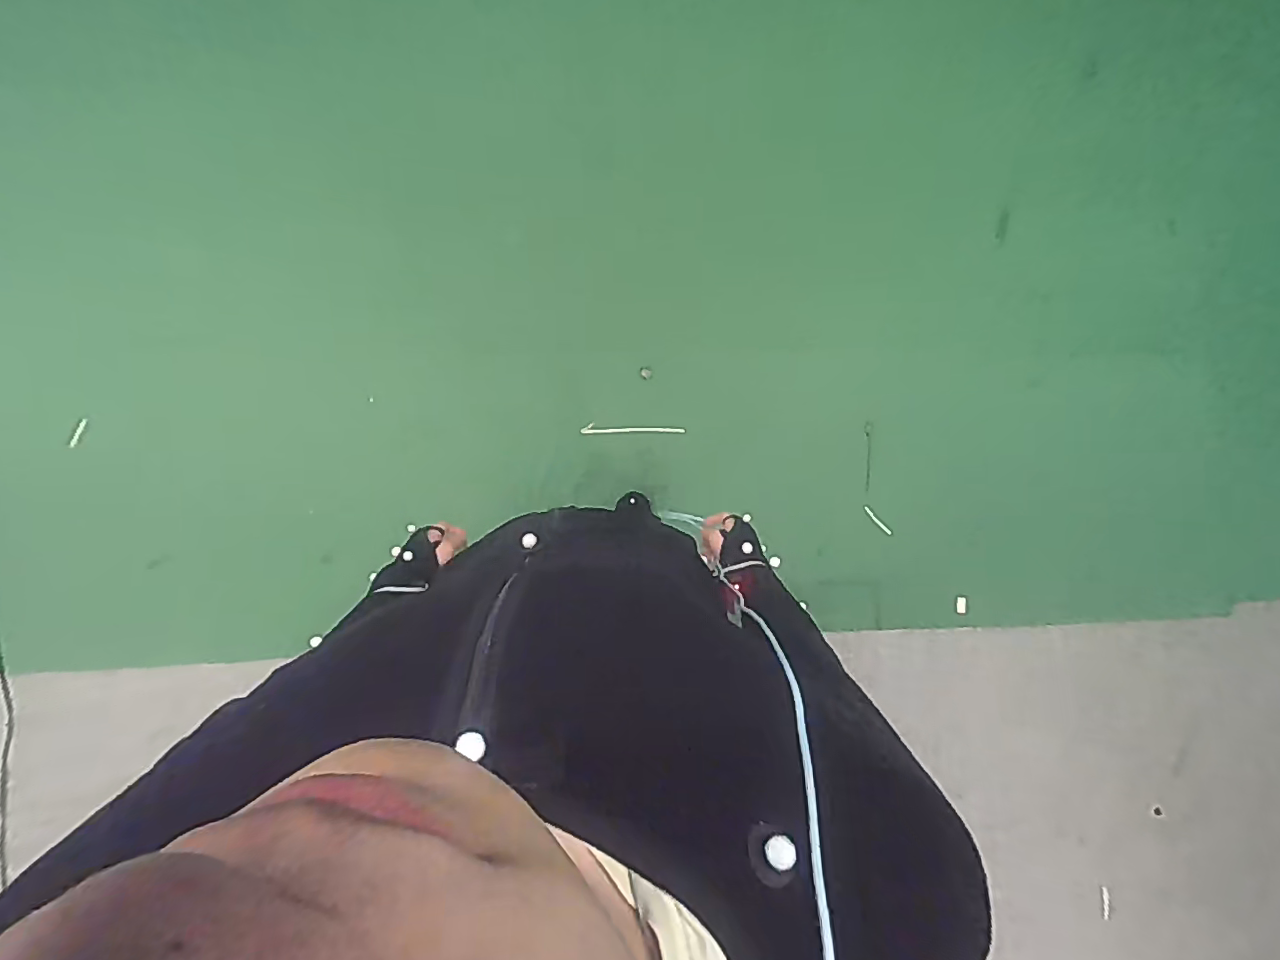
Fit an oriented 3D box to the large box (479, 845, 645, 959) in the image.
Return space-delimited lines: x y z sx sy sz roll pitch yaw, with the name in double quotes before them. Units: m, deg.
"large box" -0.194 1.256 1.468 0.408 0.320 0.320 -4 89 -4
